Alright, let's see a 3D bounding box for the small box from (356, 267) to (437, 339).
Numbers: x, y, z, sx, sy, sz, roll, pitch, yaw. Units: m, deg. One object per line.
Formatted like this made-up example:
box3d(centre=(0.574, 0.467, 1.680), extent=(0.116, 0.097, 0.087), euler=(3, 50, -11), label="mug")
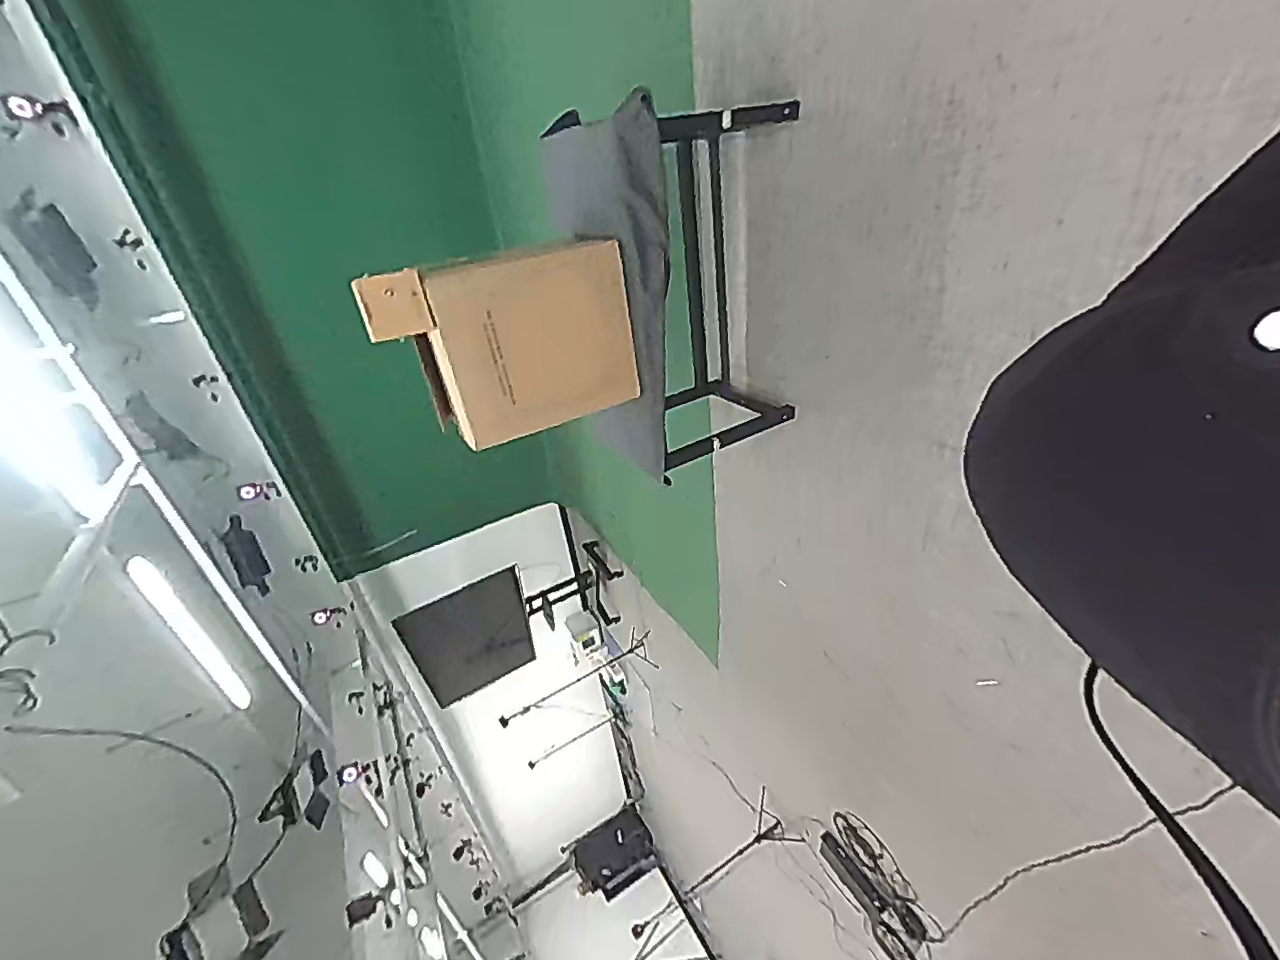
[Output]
box3d(centre=(-0.699, -0.512, 1.559), extent=(0.179, 0.176, 0.168), euler=(30, 135, 58), label="small box")
